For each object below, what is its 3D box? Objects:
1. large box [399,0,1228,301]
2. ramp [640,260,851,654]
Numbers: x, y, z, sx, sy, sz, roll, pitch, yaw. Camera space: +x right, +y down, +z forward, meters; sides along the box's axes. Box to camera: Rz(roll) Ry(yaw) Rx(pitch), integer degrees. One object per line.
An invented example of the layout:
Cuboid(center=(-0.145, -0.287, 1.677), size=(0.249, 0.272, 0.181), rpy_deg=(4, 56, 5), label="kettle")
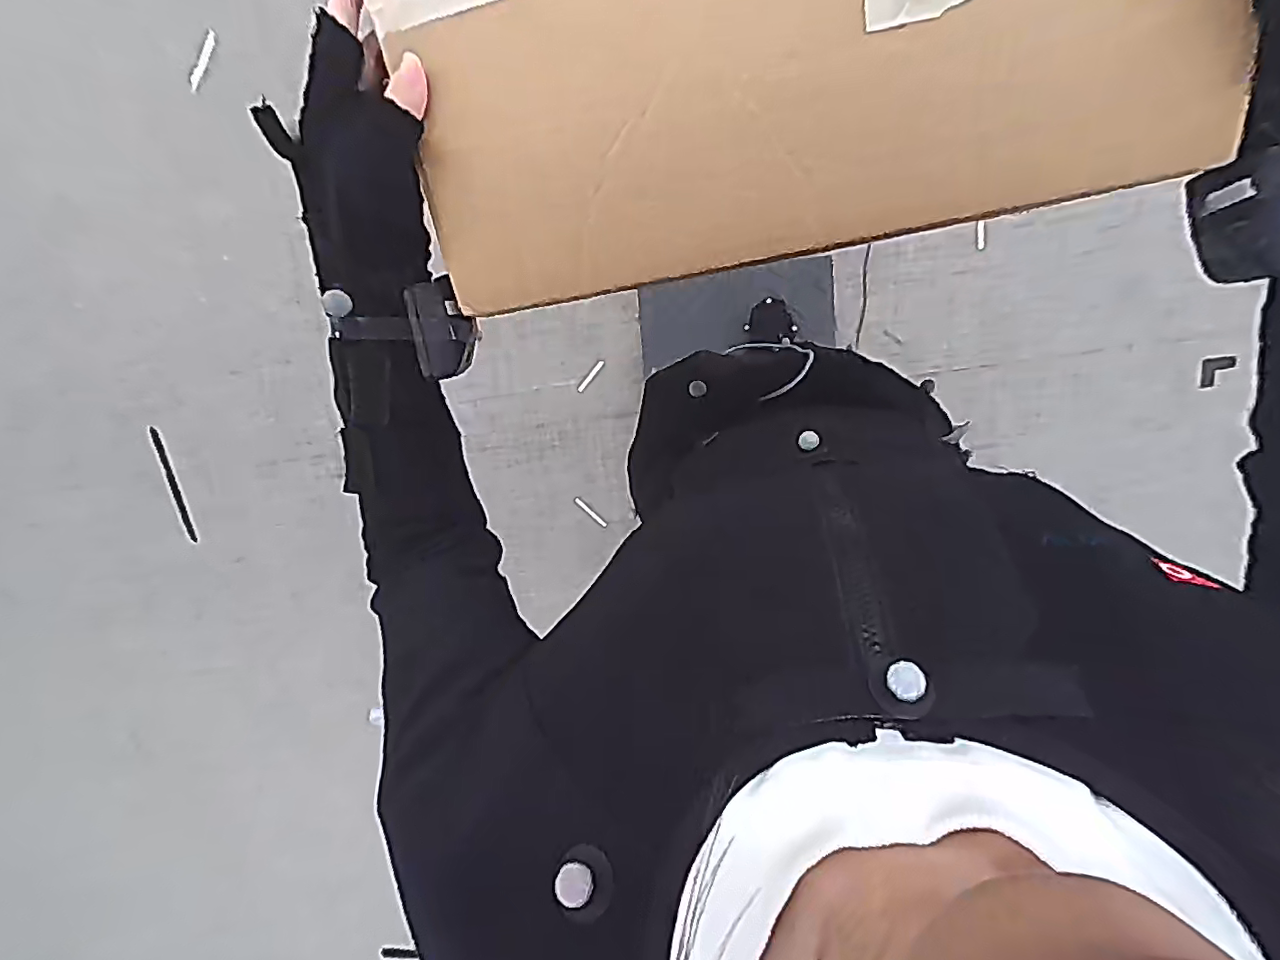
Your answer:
Cuboid(center=(0.079, -0.335, 0.395), size=(0.408, 0.320, 0.320), rpy_deg=(-8, 111, 10), label="large box")
Cuboid(center=(0.270, -0.039, 1.413), size=(0.509, 0.206, 0.991), rpy_deg=(-5, 103, 11), label="ramp")
